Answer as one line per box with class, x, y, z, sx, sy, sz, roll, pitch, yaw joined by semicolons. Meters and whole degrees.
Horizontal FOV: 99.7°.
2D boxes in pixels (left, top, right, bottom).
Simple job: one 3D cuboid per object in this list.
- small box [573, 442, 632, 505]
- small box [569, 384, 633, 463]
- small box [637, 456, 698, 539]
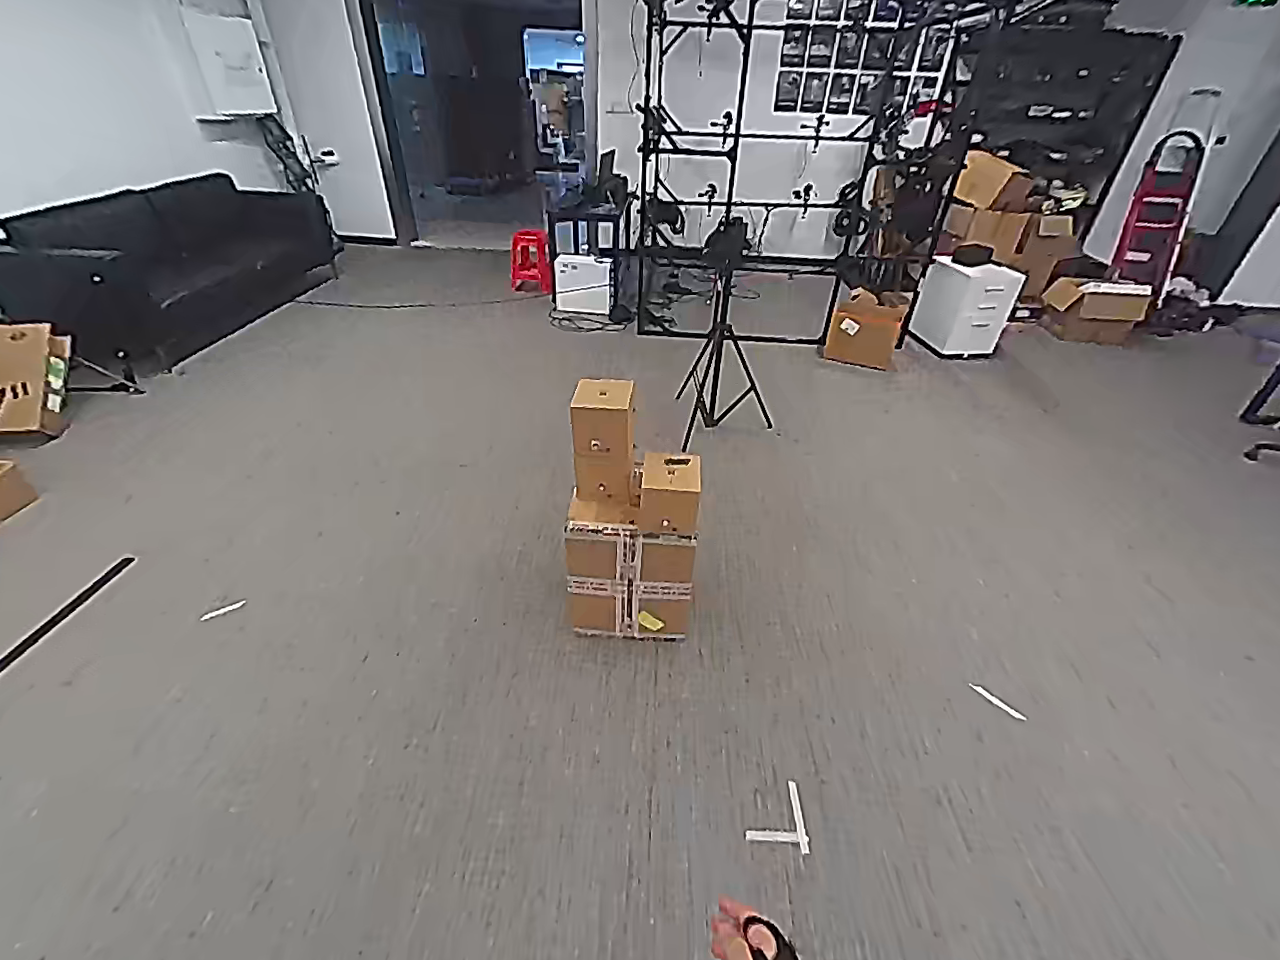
small box;-0.115;-0.041;1.709;0.168;0.176;0.179;3;37;3
small box;-0.111;-0.171;1.611;0.168;0.176;0.179;2;37;4
small box;0.080;0.051;1.596;0.168;0.176;0.179;4;38;2
